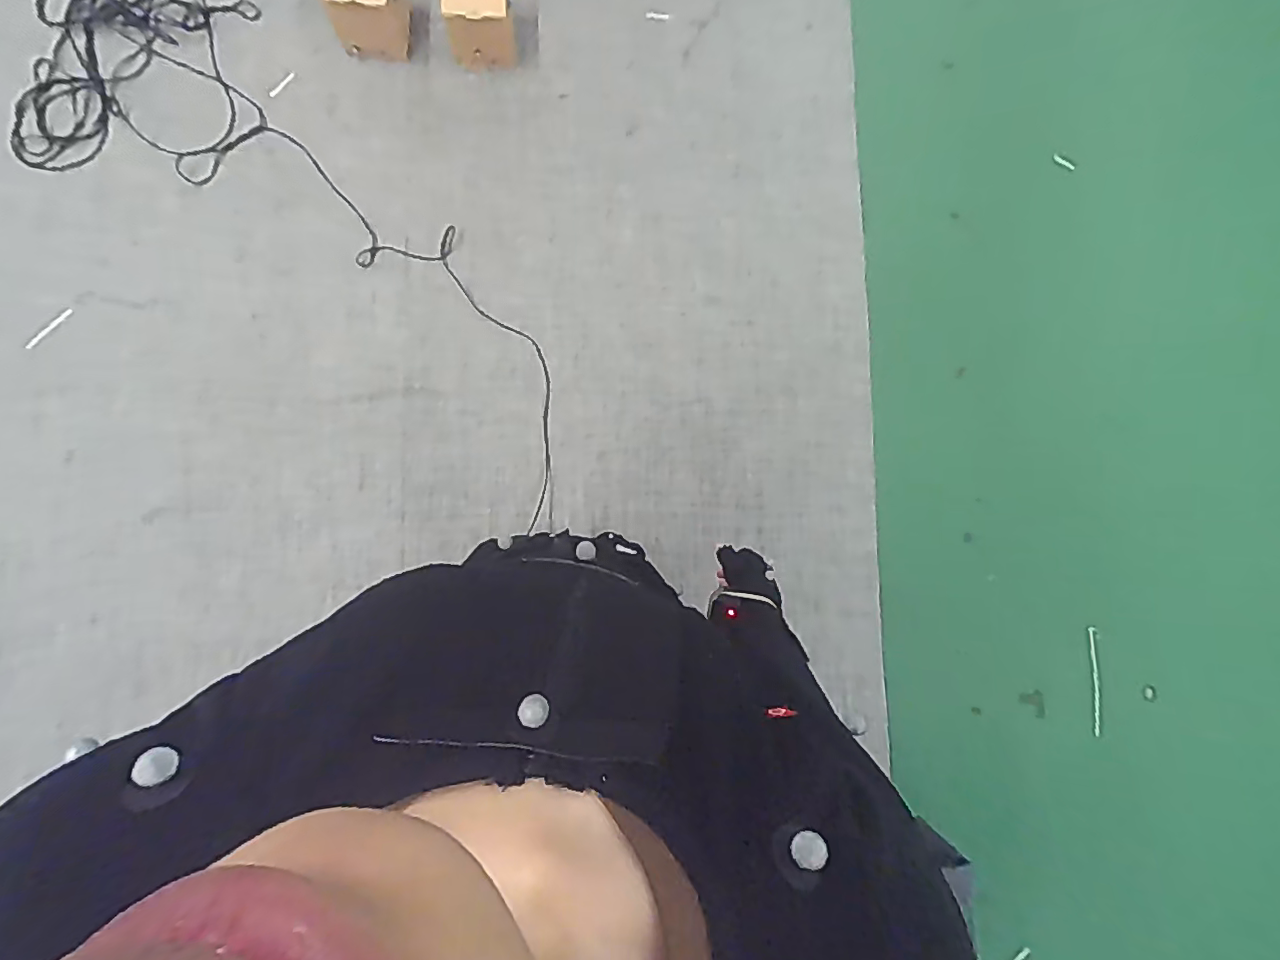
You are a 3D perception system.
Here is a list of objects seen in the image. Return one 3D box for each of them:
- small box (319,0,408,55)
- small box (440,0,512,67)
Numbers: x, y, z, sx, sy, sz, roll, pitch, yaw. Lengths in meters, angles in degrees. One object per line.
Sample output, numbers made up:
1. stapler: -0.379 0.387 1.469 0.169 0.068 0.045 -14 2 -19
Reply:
1. small box: -0.734 -1.289 1.448 0.168 0.176 0.179 2 85 -6
2. small box: -0.445 -1.285 1.479 0.168 0.176 0.179 -3 87 -6
